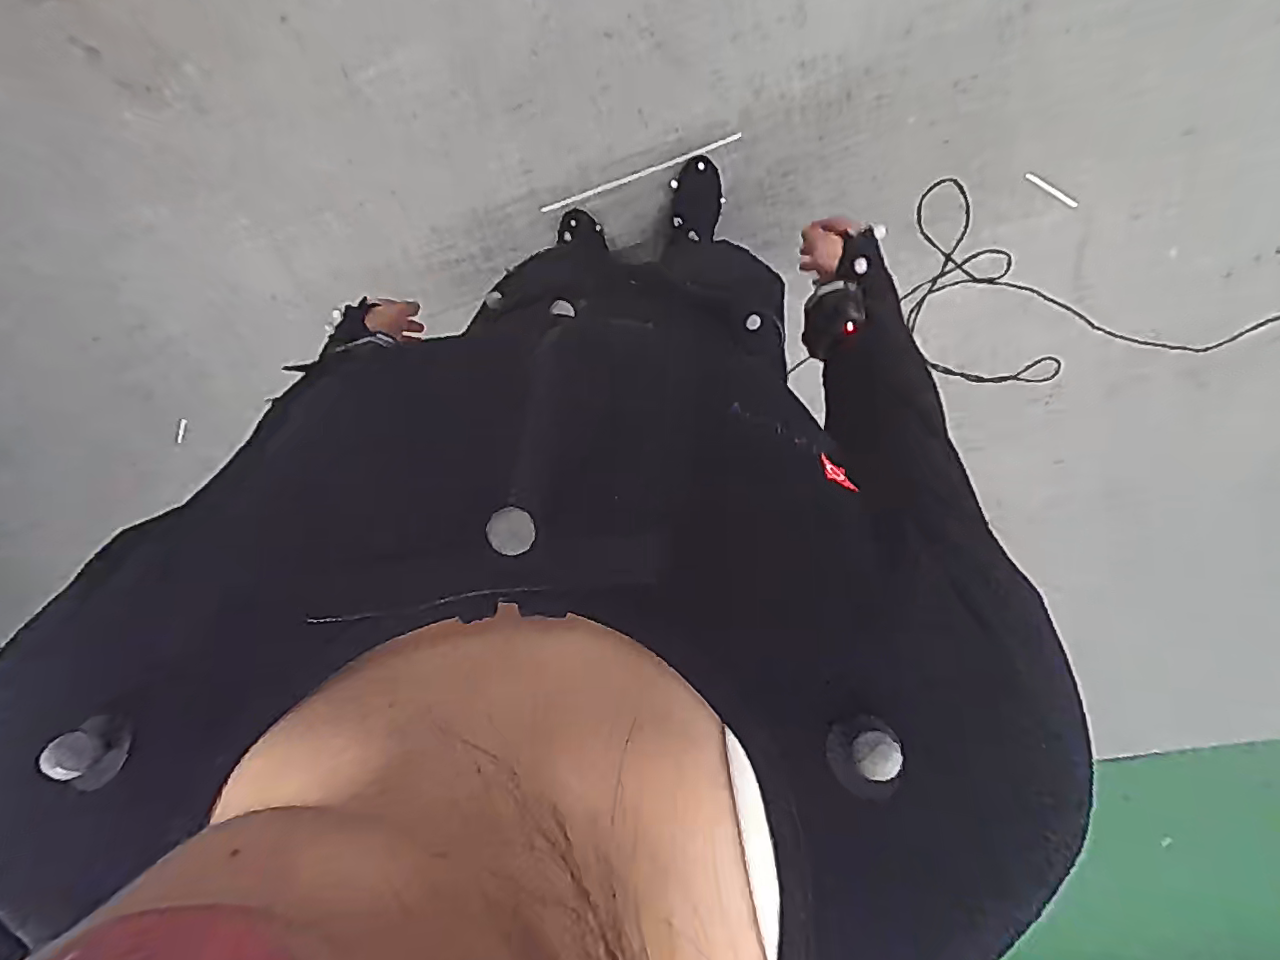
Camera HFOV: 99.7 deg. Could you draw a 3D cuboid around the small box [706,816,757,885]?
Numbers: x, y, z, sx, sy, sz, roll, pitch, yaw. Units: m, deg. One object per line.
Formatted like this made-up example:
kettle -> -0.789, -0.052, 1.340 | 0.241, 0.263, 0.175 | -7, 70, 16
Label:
small box -> 0.362, 1.469, 2.143 | 0.168, 0.176, 0.179 | -13, 118, 11
